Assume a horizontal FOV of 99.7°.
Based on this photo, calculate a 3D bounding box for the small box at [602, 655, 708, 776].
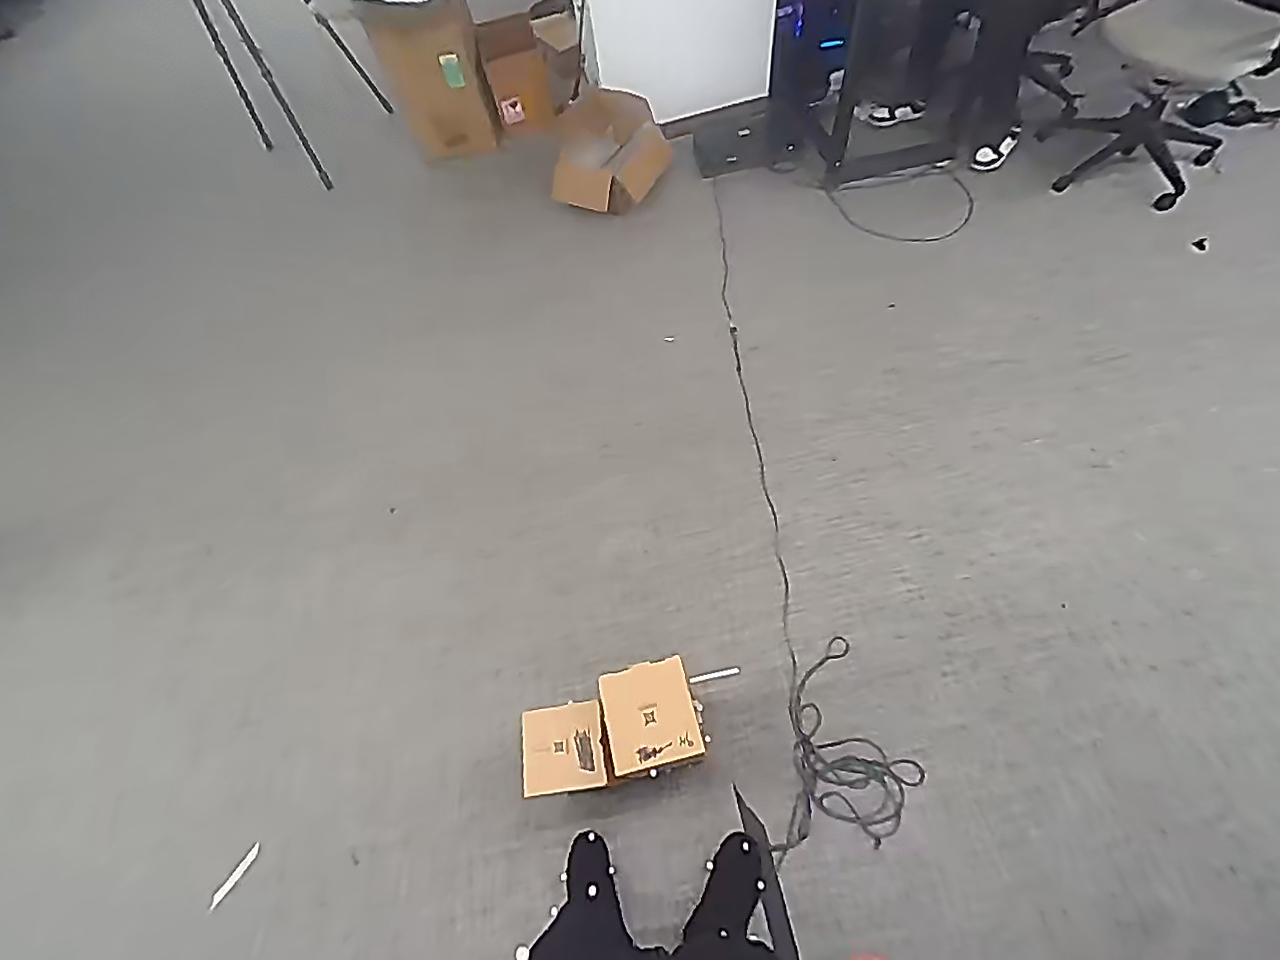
[{"bbox_3d":[0.032,0.463,1.054,0.168,0.176,0.179,-15,60,1],"label":"small box"}]

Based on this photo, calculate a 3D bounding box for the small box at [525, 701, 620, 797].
[{"bbox_3d":[-0.144,0.594,1.198,0.179,0.176,0.168,-11,60,4],"label":"small box"}]
